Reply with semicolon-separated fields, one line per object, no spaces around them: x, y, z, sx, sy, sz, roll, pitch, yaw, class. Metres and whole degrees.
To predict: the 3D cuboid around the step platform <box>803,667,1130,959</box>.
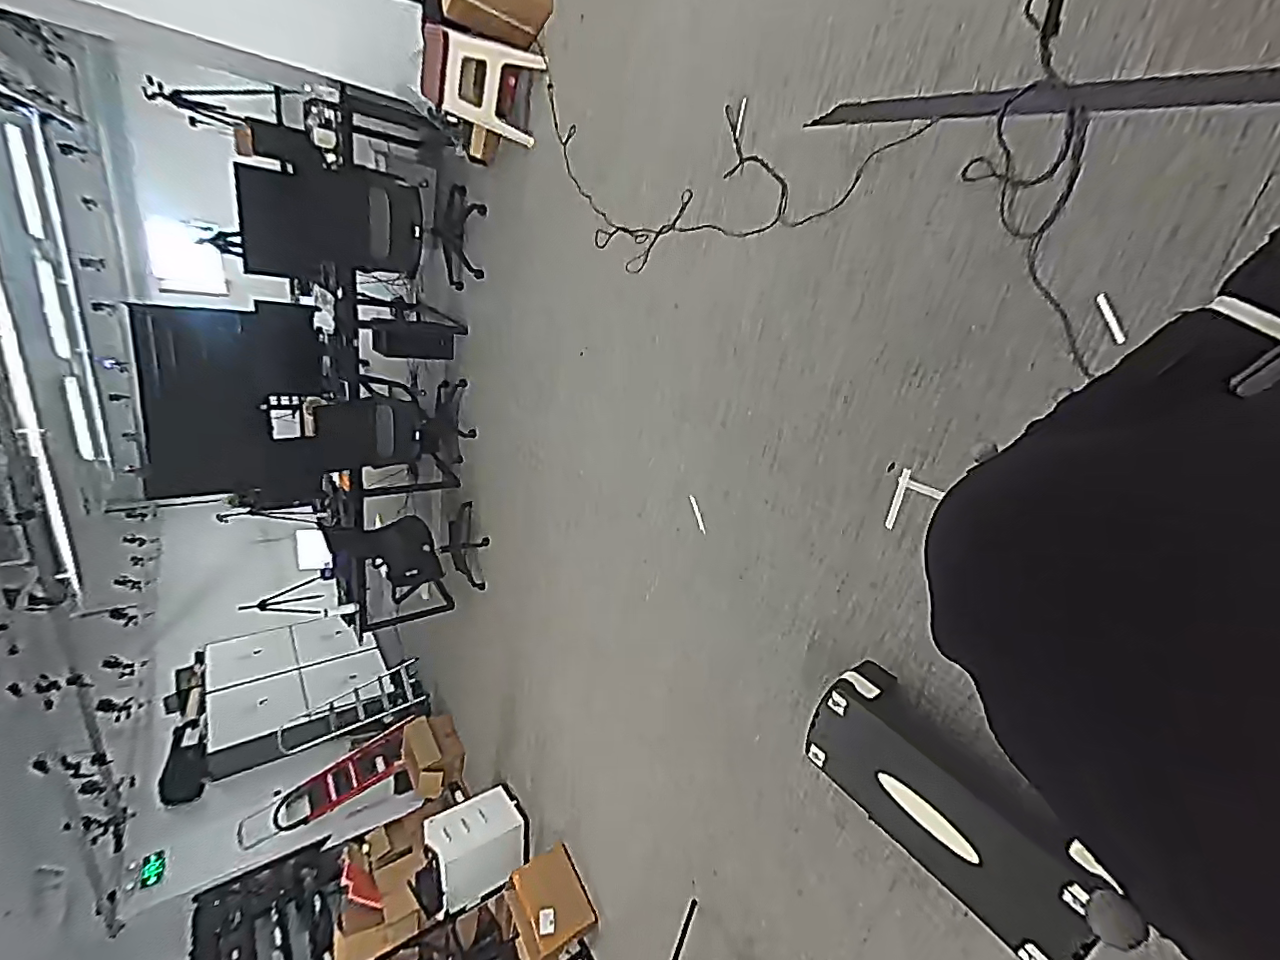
0.744;0.802;1.350;0.684;0.204;0.286;34;122;44;step platform
